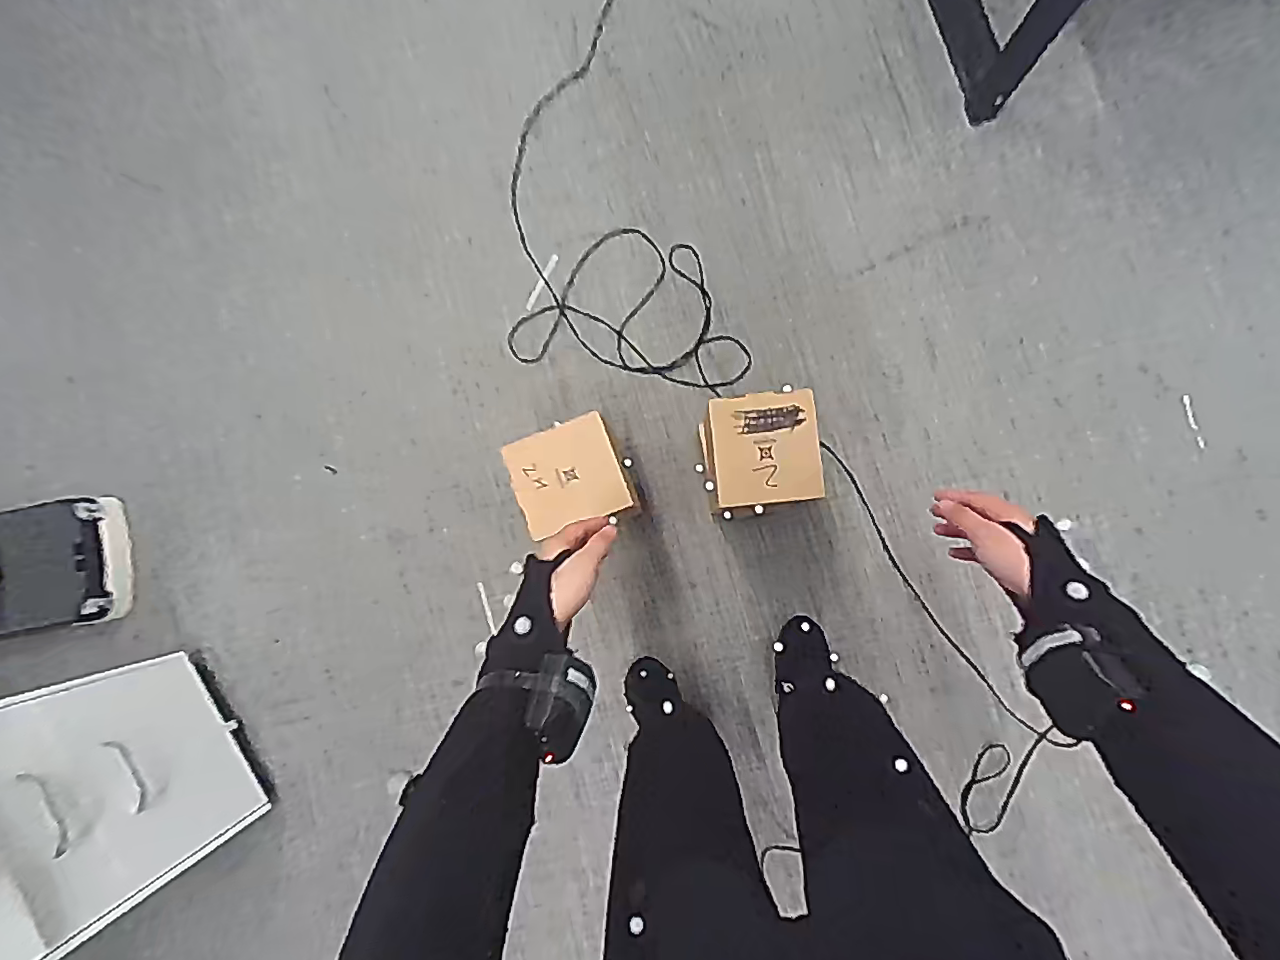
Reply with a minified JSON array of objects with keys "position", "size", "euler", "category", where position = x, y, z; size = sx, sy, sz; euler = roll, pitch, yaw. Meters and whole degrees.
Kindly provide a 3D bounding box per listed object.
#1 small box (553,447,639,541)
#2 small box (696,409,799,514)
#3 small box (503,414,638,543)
[{"position":[-0.105,0.018,1.115],"size":[0.179,0.176,0.168],"euler":[-19,86,3],"category":"small box"},{"position":[0.209,-0.031,1.094],"size":[0.168,0.176,0.179],"euler":[-11,85,3],"category":"small box"},{"position":[-0.111,-0.001,0.950],"size":[0.179,0.176,0.168],"euler":[-22,86,5],"category":"small box"}]
